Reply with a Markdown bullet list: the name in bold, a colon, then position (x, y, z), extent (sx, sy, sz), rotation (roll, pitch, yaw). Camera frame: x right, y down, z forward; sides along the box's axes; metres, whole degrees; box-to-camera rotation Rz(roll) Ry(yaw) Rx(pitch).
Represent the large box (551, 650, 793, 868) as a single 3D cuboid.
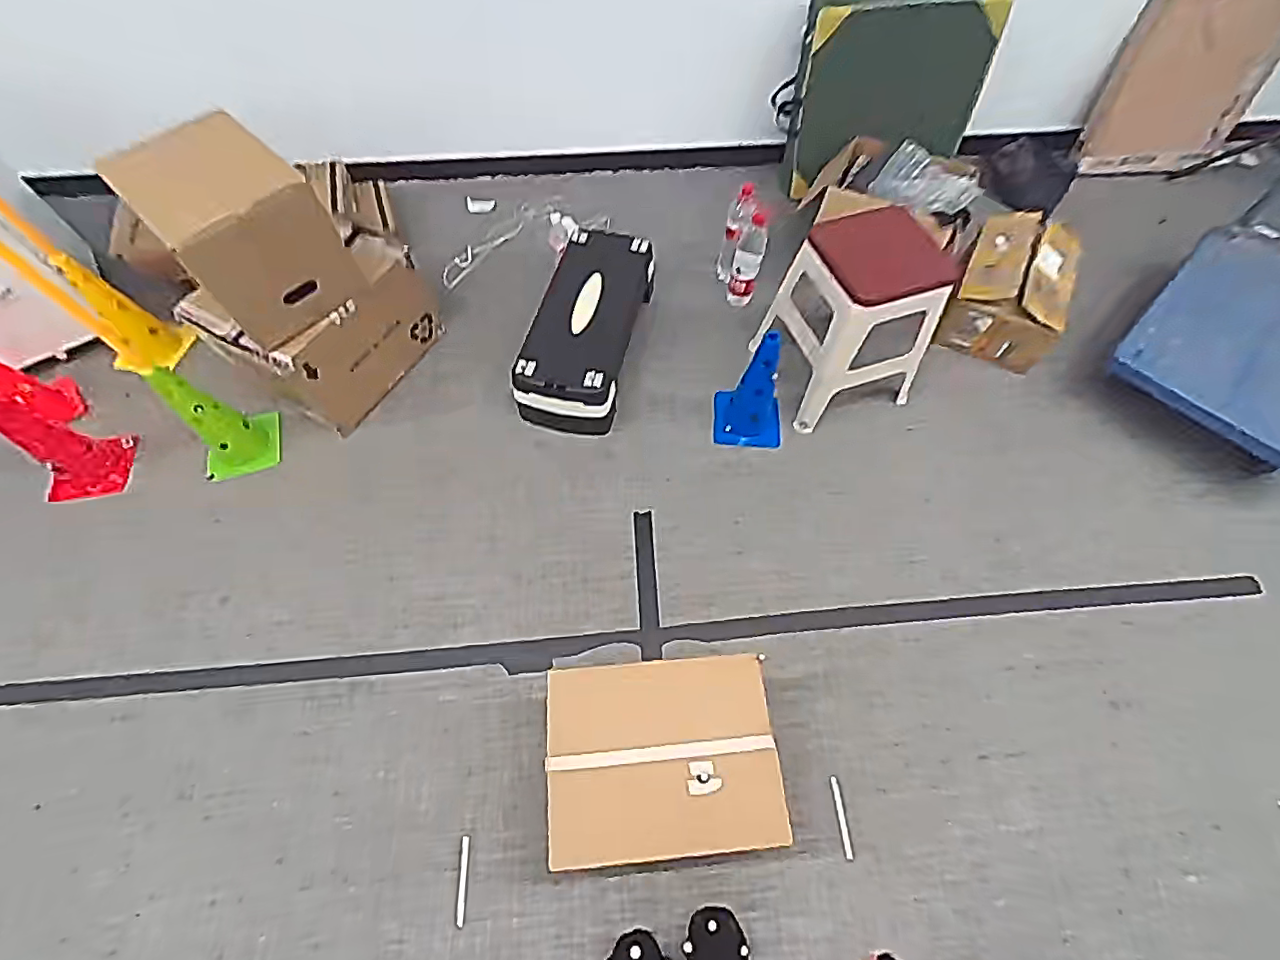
- **large box**: position (0.041, 0.552, 1.090), extent (0.408, 0.320, 0.320), rotation (-4, 62, -4)
